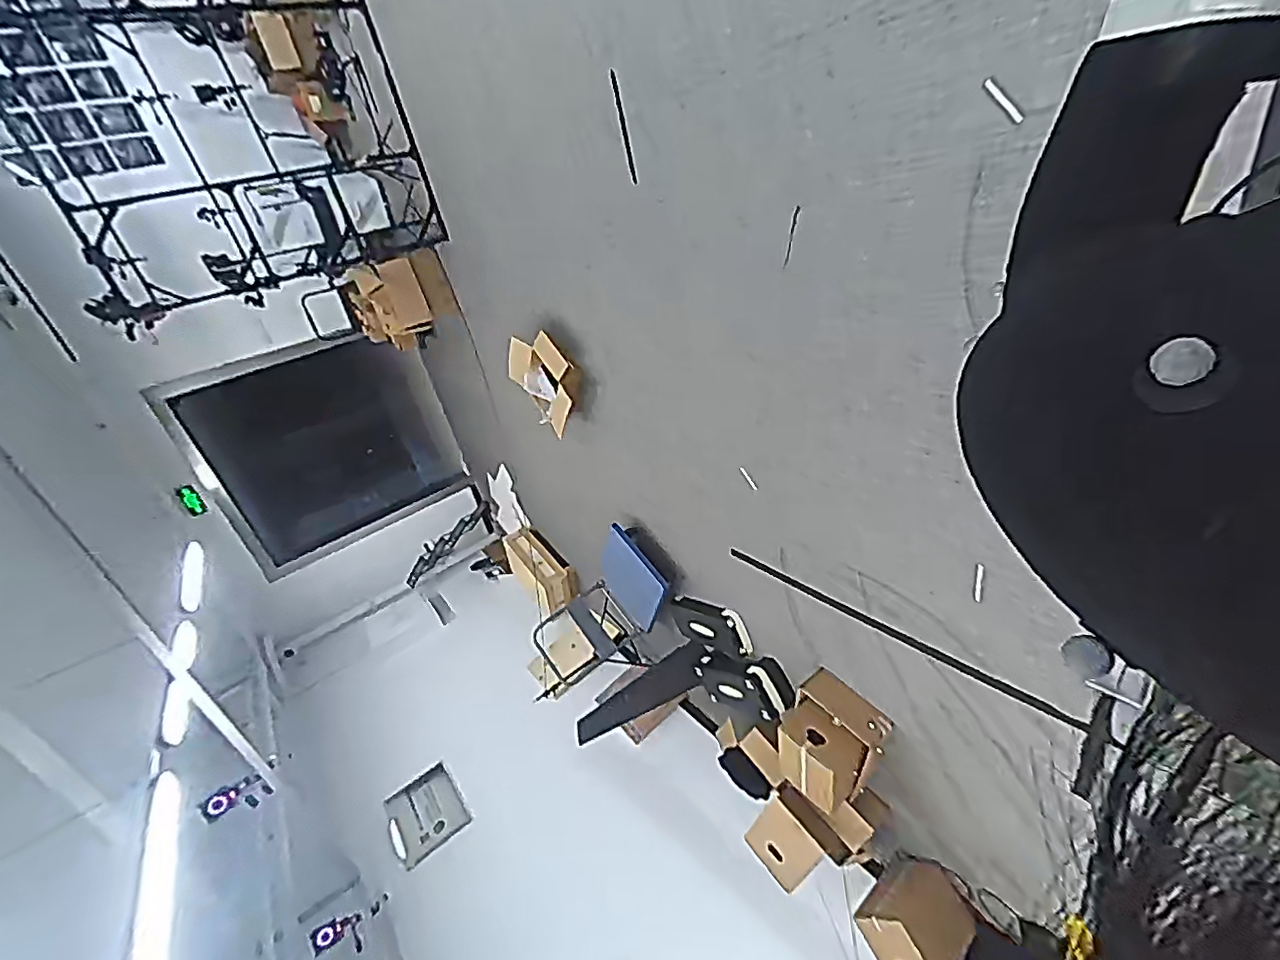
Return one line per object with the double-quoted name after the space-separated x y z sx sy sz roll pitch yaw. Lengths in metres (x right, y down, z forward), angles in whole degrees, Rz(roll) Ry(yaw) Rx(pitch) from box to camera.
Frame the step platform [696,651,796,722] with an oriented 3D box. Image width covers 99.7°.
0.614 1.238 3.273 0.286 0.204 0.684 61 152 -1 "step platform"
